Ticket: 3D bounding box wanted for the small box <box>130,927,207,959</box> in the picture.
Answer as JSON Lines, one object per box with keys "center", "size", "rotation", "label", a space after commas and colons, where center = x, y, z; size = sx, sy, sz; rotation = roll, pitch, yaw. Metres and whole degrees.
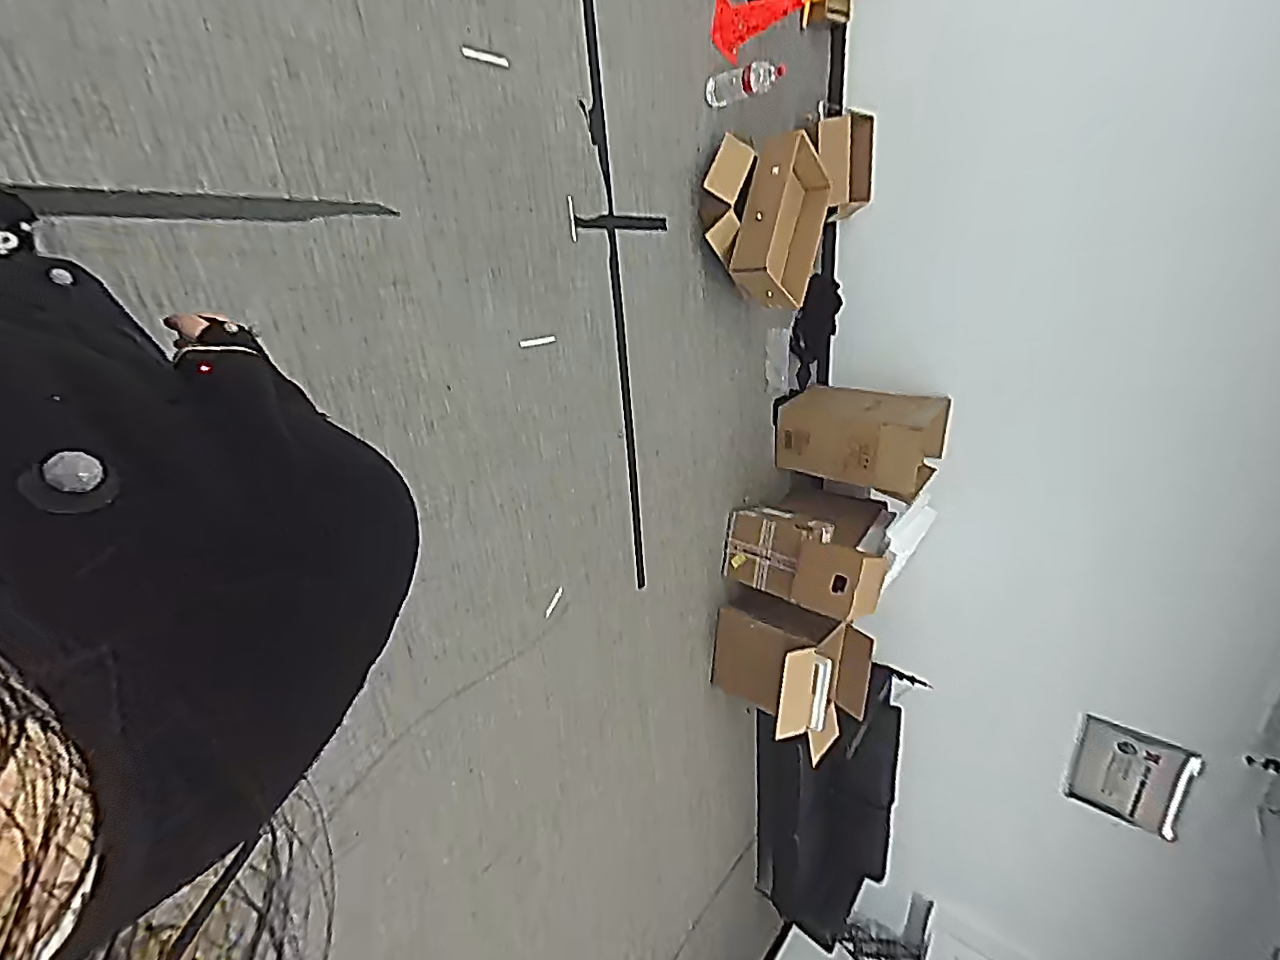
{"center": [-1.144, 1.231, 1.291], "size": [0.168, 0.176, 0.179], "rotation": [-28, 122, -42], "label": "small box"}
